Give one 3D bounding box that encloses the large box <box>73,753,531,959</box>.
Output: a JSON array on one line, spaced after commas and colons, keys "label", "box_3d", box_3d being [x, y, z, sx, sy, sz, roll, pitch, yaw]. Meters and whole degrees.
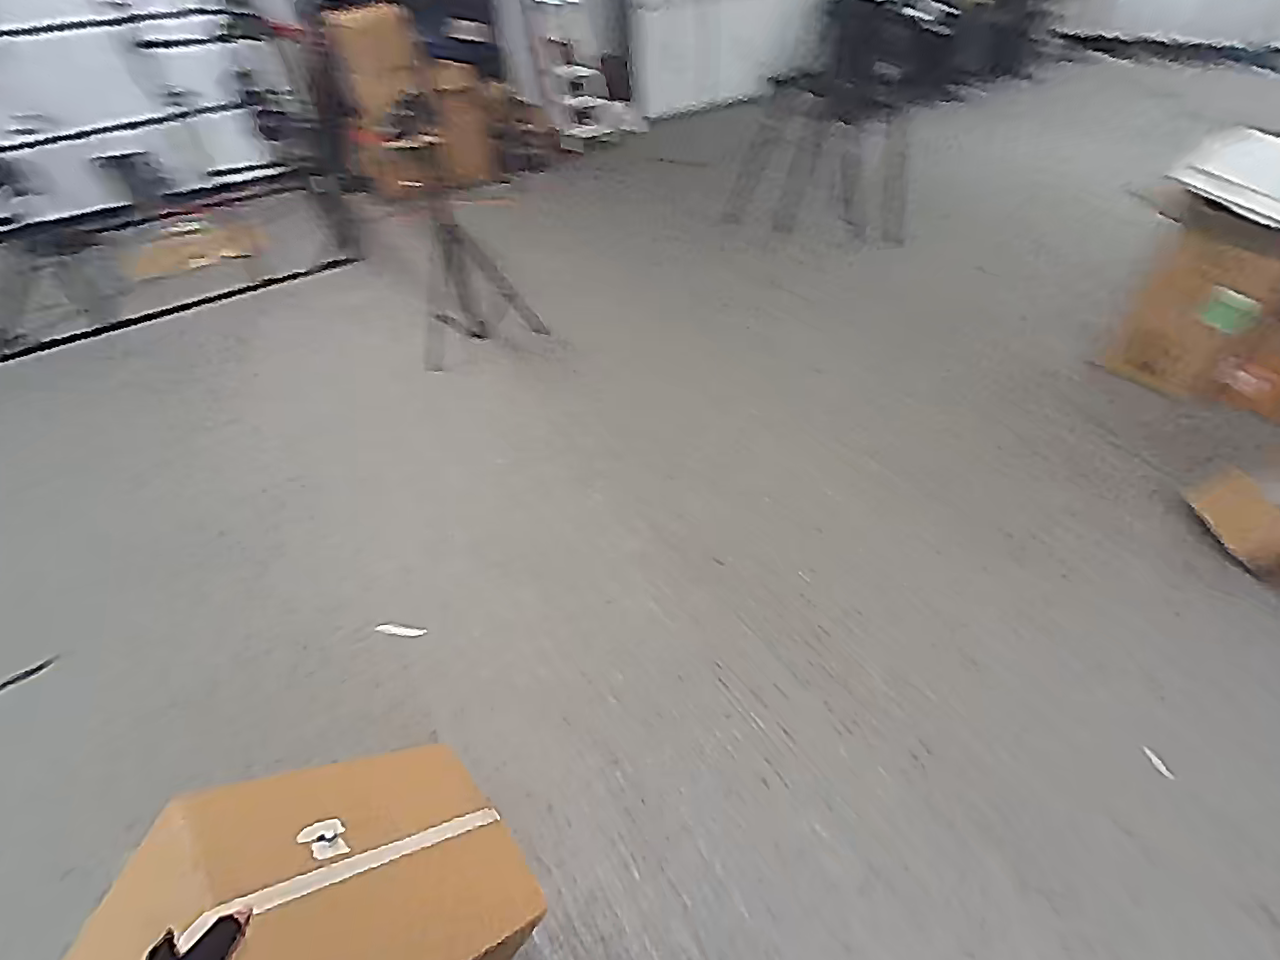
[{"label": "large box", "box_3d": [-0.433, 0.630, 0.712, 0.320, 0.408, 0.320, 37, 95, 33]}]
